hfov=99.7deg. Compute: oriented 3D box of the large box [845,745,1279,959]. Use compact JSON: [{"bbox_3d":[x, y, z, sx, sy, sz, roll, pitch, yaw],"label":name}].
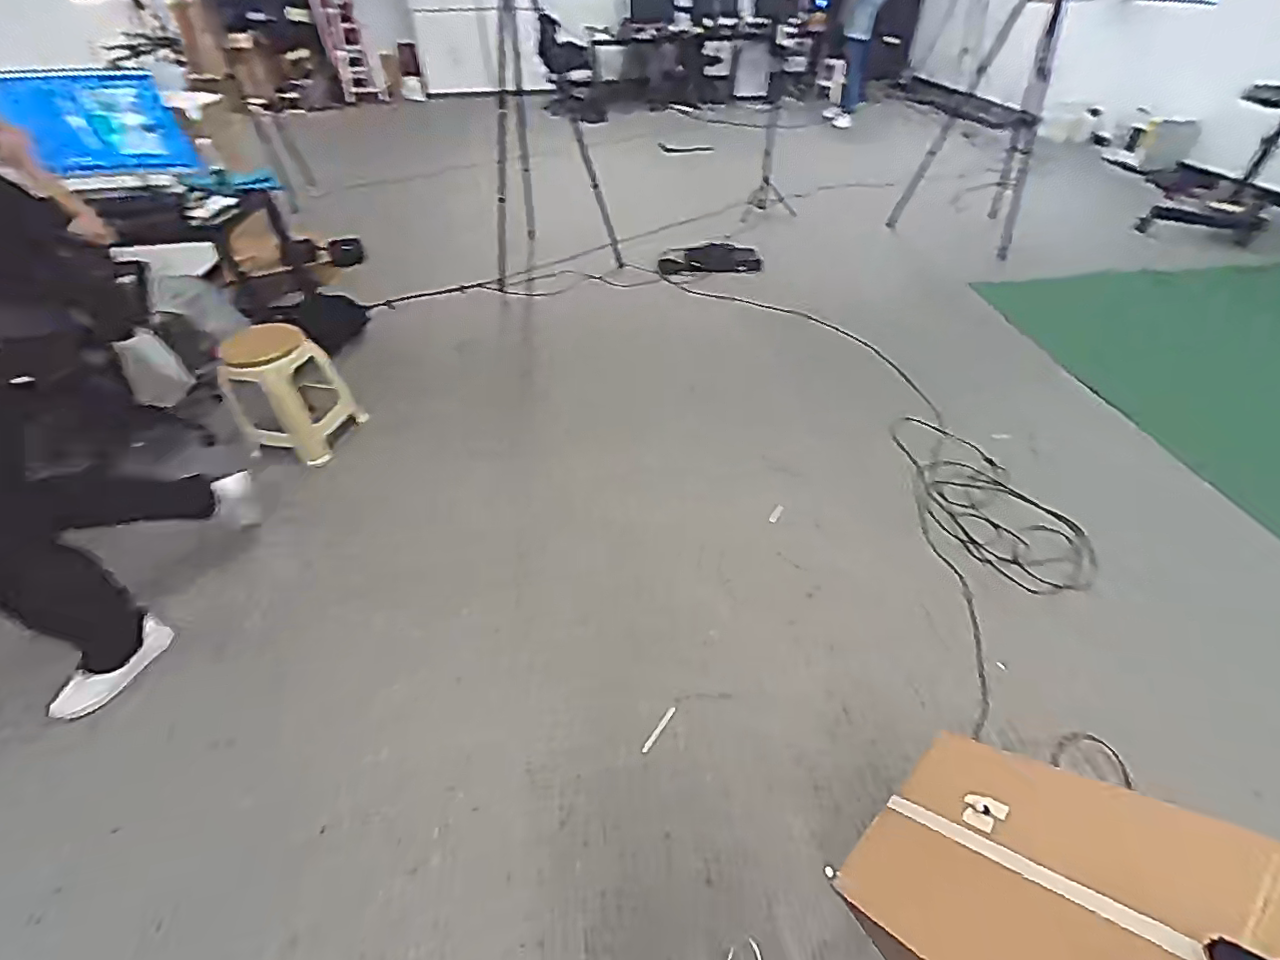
[{"bbox_3d":[0.566,0.616,0.680,0.320,0.408,0.320,-35,94,-22],"label":"large box"}]
